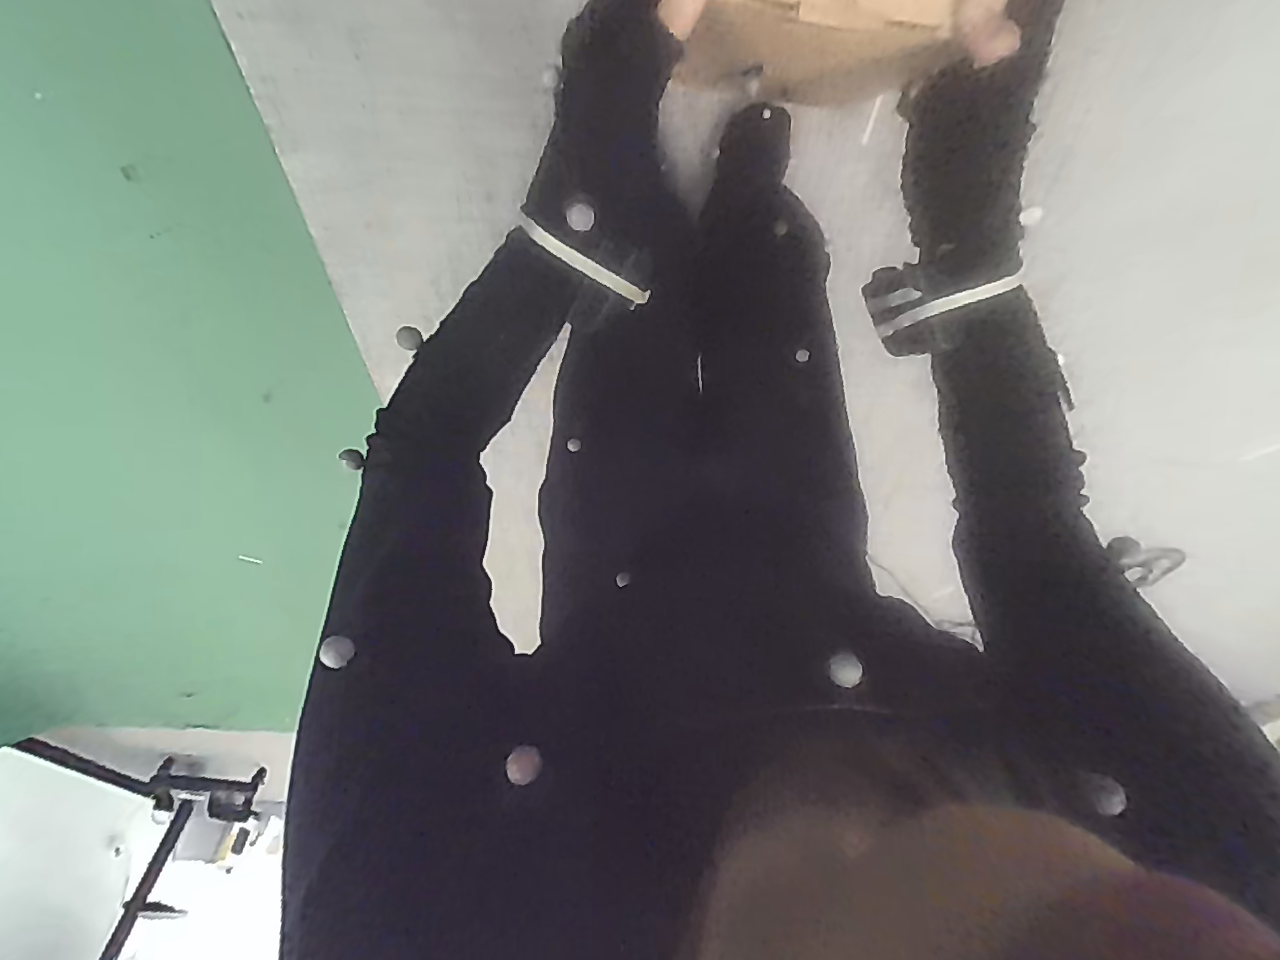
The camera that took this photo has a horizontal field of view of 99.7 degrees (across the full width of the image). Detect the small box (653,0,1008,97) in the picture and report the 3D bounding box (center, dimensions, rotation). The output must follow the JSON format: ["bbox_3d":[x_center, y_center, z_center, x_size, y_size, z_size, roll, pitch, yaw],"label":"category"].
[{"bbox_3d":[0.102,-0.346,0.301,0.168,0.176,0.179,3,114,-7],"label":"small box"}]
